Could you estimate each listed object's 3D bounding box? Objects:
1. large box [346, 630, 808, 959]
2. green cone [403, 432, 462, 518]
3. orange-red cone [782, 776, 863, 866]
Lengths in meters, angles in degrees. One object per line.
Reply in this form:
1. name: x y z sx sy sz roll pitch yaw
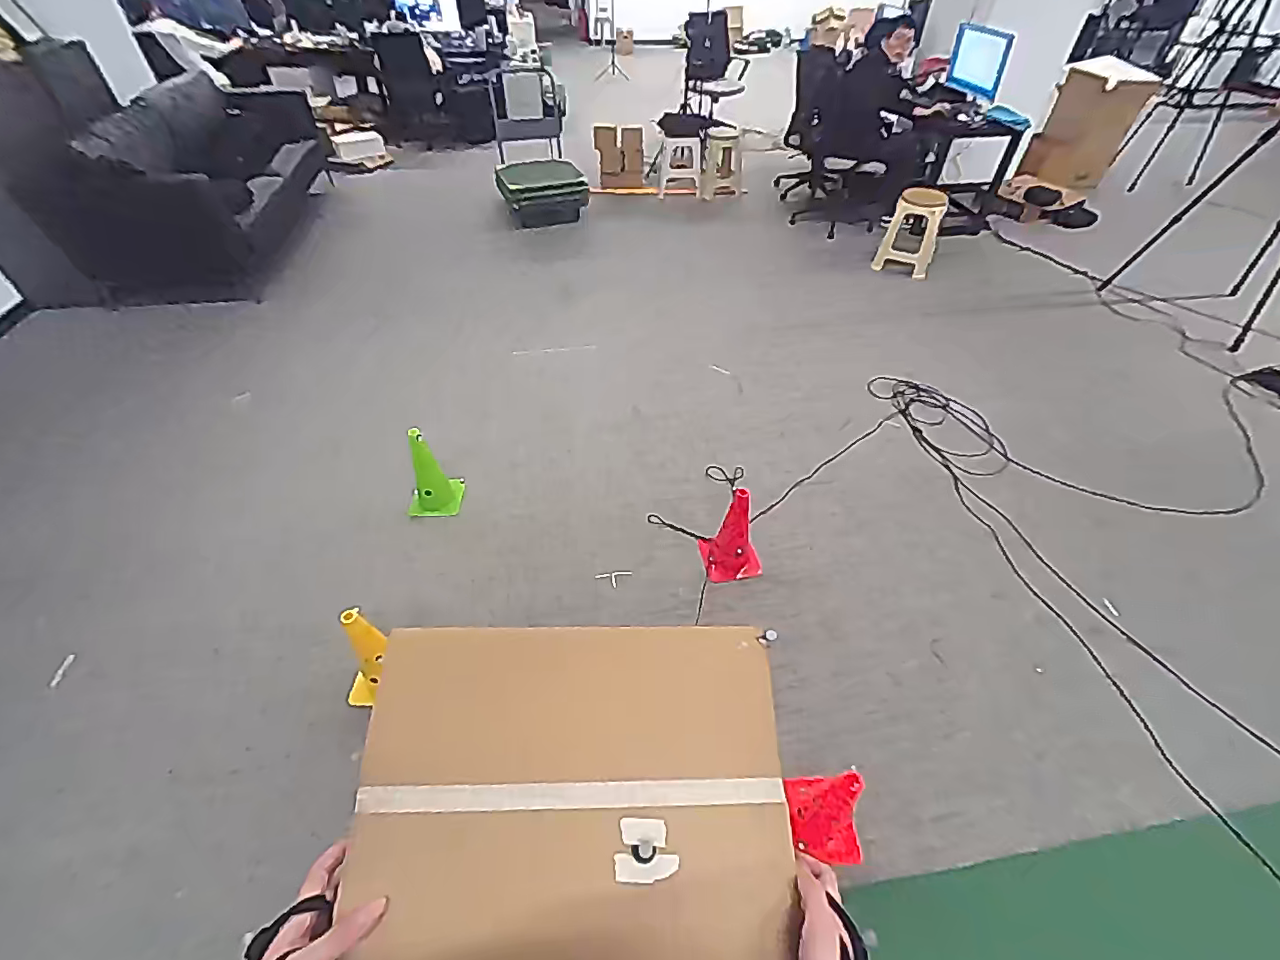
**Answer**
1. large box: -0.065 0.376 0.652 0.408 0.320 0.320 0 63 -3
2. green cone: -0.838 -0.042 2.077 0.200 0.368 0.202 -2 47 -2
3. orange-red cone: 0.461 0.780 1.299 0.199 0.360 0.198 1 47 -3
